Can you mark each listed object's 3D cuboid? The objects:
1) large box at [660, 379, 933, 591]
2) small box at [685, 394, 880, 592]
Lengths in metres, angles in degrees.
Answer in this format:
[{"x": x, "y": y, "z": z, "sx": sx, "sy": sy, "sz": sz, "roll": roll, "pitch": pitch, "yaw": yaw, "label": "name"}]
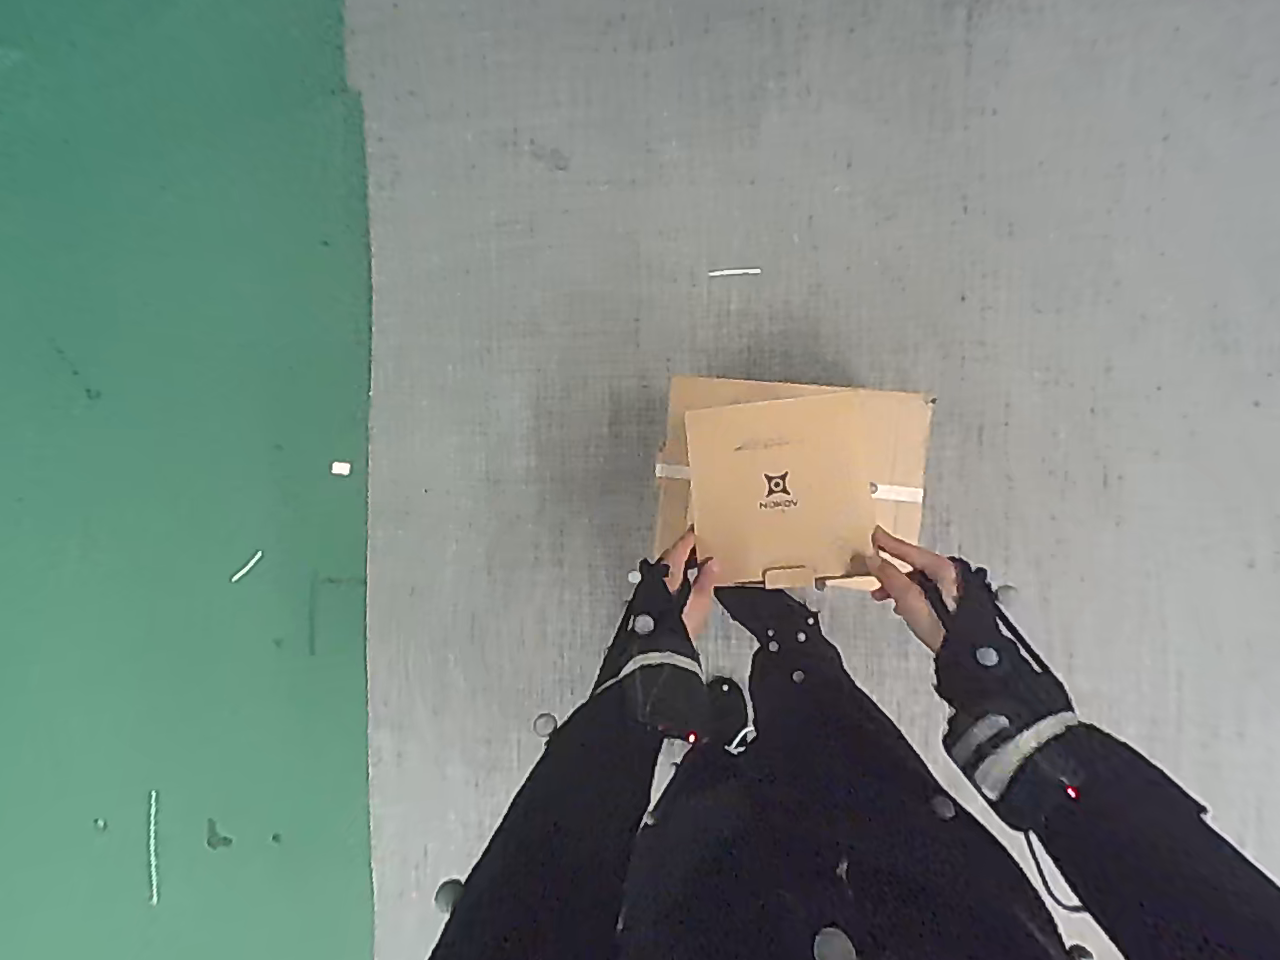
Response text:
[{"x": 0.261, "y": 0.002, "z": 1.005, "sx": 0.408, "sy": 0.320, "sz": 0.320, "roll": 6, "pitch": 93, "yaw": 9, "label": "large box"}, {"x": 0.145, "y": 0.022, "z": 0.585, "sx": 0.168, "sy": 0.176, "sz": 0.179, "roll": -6, "pitch": 81, "yaw": 10, "label": "small box"}]
